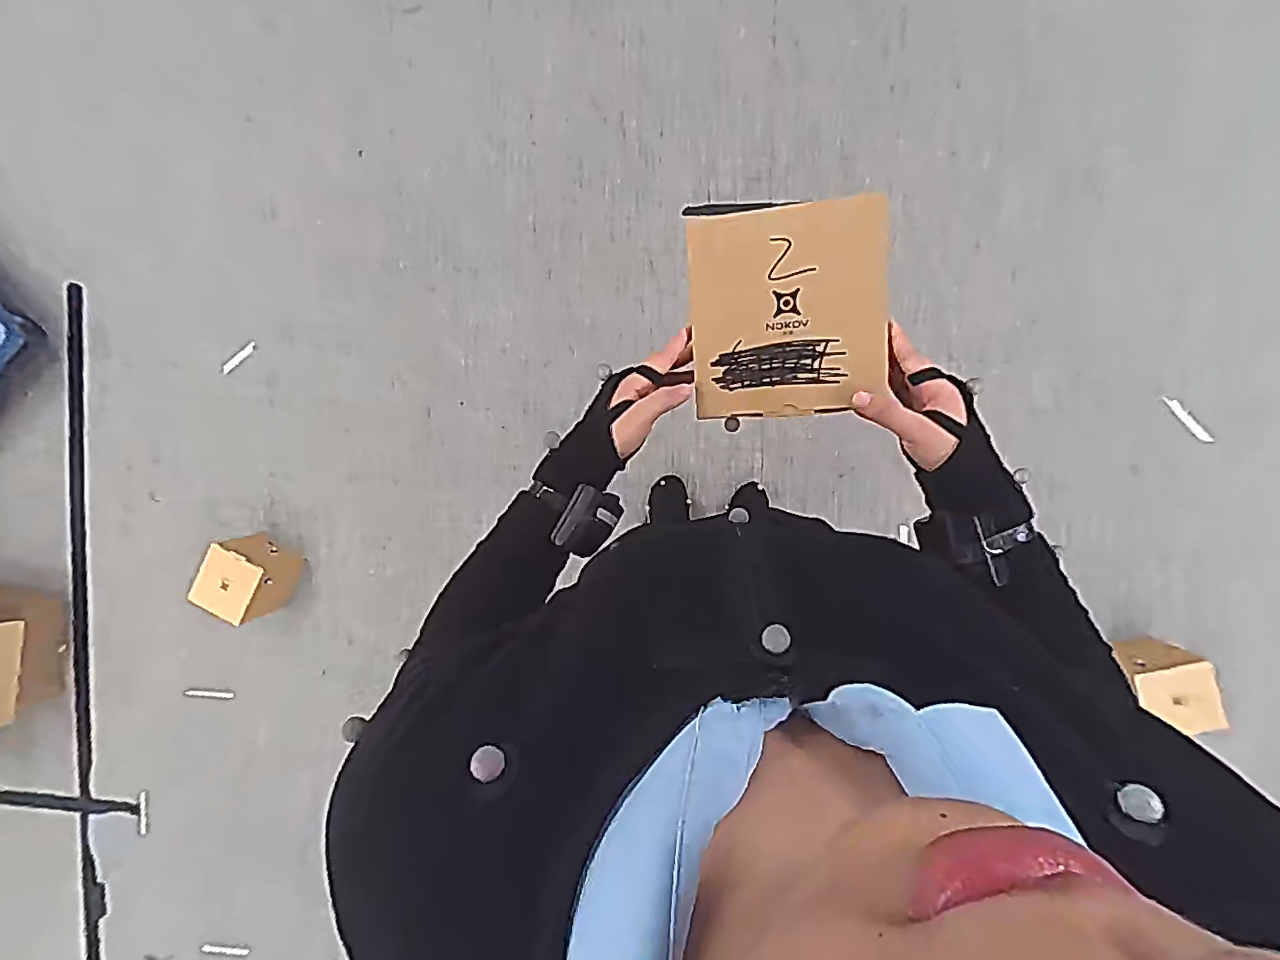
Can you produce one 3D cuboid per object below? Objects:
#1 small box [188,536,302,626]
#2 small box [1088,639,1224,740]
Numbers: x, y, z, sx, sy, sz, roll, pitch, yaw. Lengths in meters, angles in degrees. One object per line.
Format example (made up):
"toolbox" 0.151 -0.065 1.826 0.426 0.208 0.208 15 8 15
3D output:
"small box" -1.100 0.276 1.521 0.168 0.176 0.179 27 94 3
"small box" 1.270 0.515 1.349 0.179 0.176 0.168 -14 91 4
